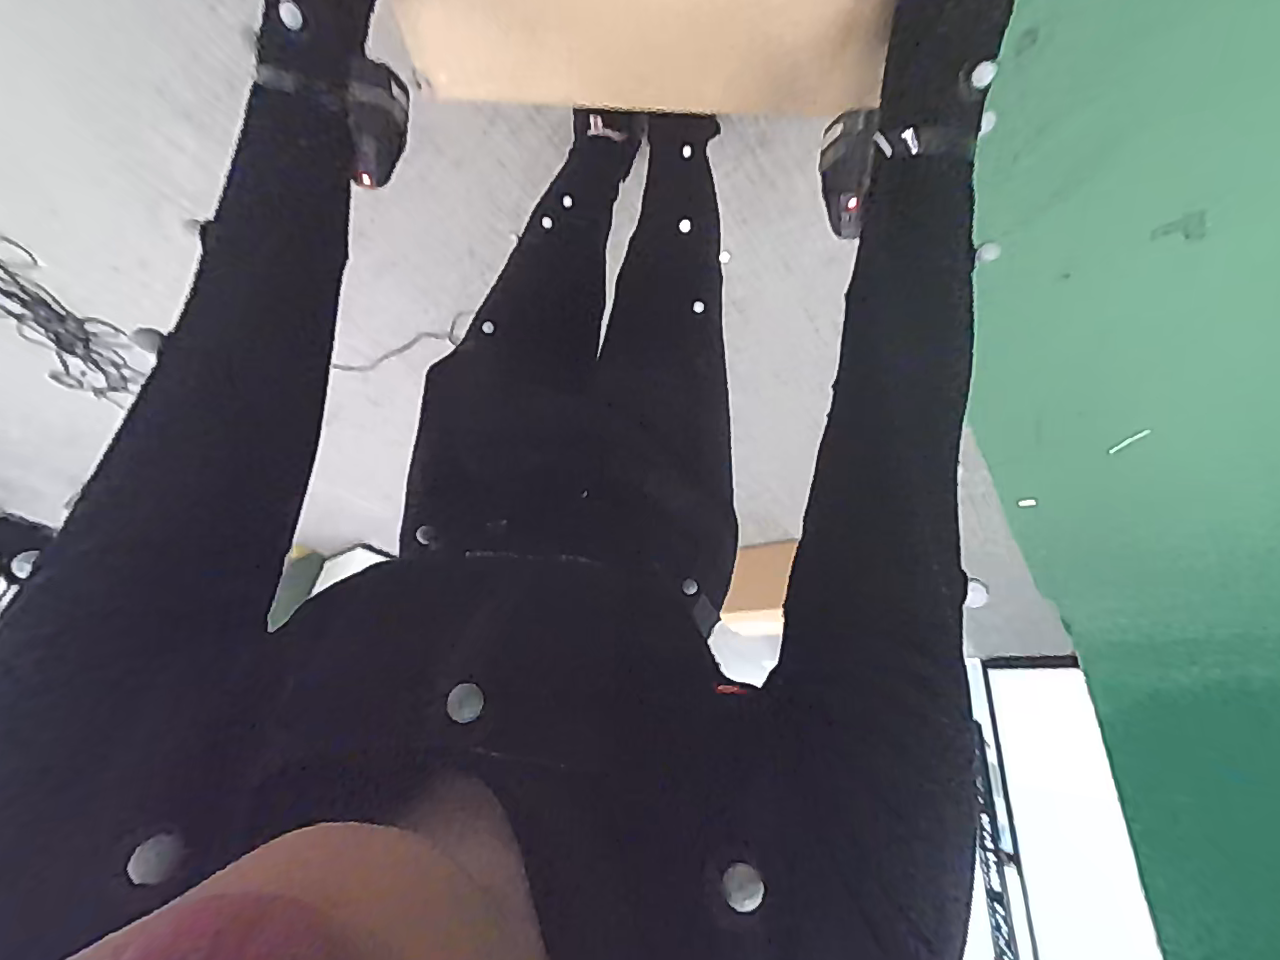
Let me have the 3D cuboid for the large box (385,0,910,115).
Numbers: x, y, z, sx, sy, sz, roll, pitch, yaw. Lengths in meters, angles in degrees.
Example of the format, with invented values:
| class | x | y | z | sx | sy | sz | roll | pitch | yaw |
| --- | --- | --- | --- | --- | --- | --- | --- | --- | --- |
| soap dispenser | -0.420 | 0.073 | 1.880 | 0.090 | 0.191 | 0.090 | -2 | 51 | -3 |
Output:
| class | x | y | z | sx | sy | sz | roll | pitch | yaw |
| --- | --- | --- | --- | --- | --- | --- | --- | --- | --- |
| large box | 0.016 | -0.527 | 0.402 | 0.408 | 0.320 | 0.320 | 7 | 151 | 5 |
